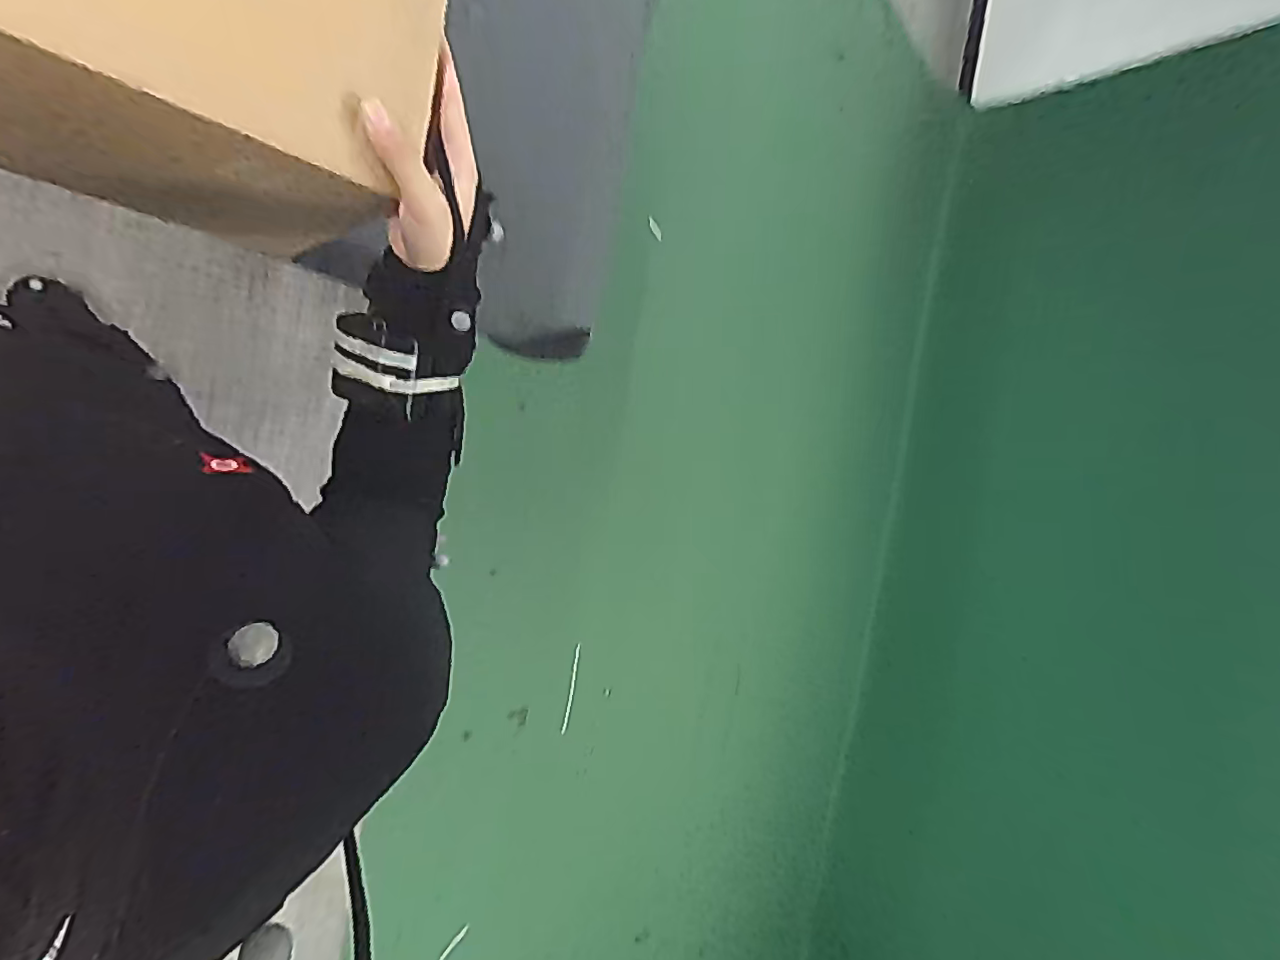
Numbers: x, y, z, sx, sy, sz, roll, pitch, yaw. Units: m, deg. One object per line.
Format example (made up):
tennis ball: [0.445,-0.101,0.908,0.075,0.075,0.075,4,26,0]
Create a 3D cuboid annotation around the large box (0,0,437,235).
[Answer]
large box: [-0.357,-0.366,0.276,0.408,0.320,0.320,4,99,-47]
